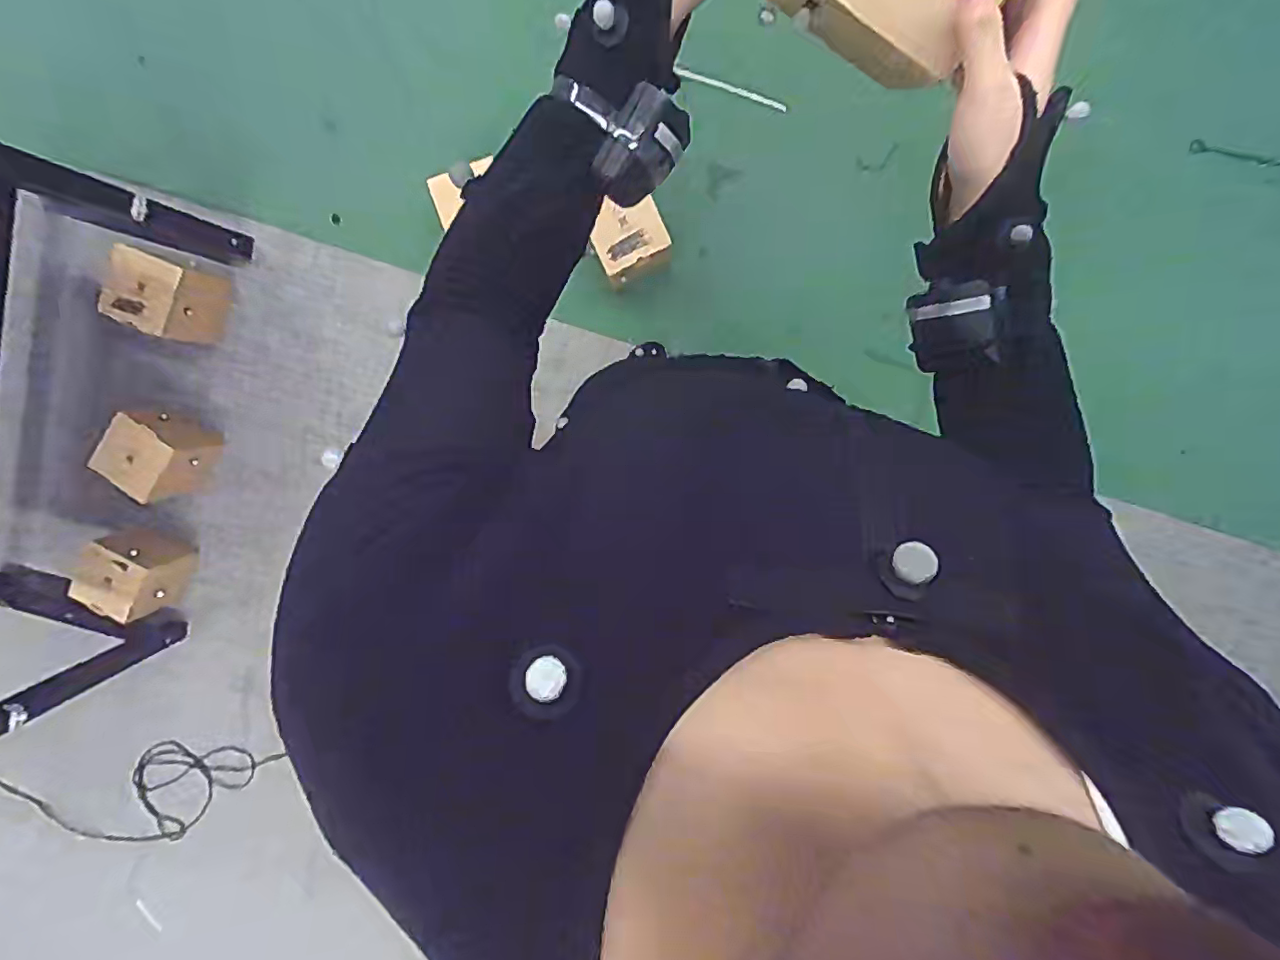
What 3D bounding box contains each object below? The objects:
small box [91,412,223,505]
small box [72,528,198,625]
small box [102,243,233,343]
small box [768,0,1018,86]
[{"bbox_3d":[-1.258,-0.066,1.426,0.168,0.176,0.179,37,100,-4],"label":"small box"},{"bbox_3d":[-1.372,0.257,1.482,0.168,0.176,0.179,29,100,-3],"label":"small box"},{"bbox_3d":[-1.176,-0.458,1.358,0.168,0.176,0.179,22,98,-3],"label":"small box"},{"bbox_3d":[0.172,-0.384,0.345,0.179,0.176,0.168,28,126,-10],"label":"small box"}]
